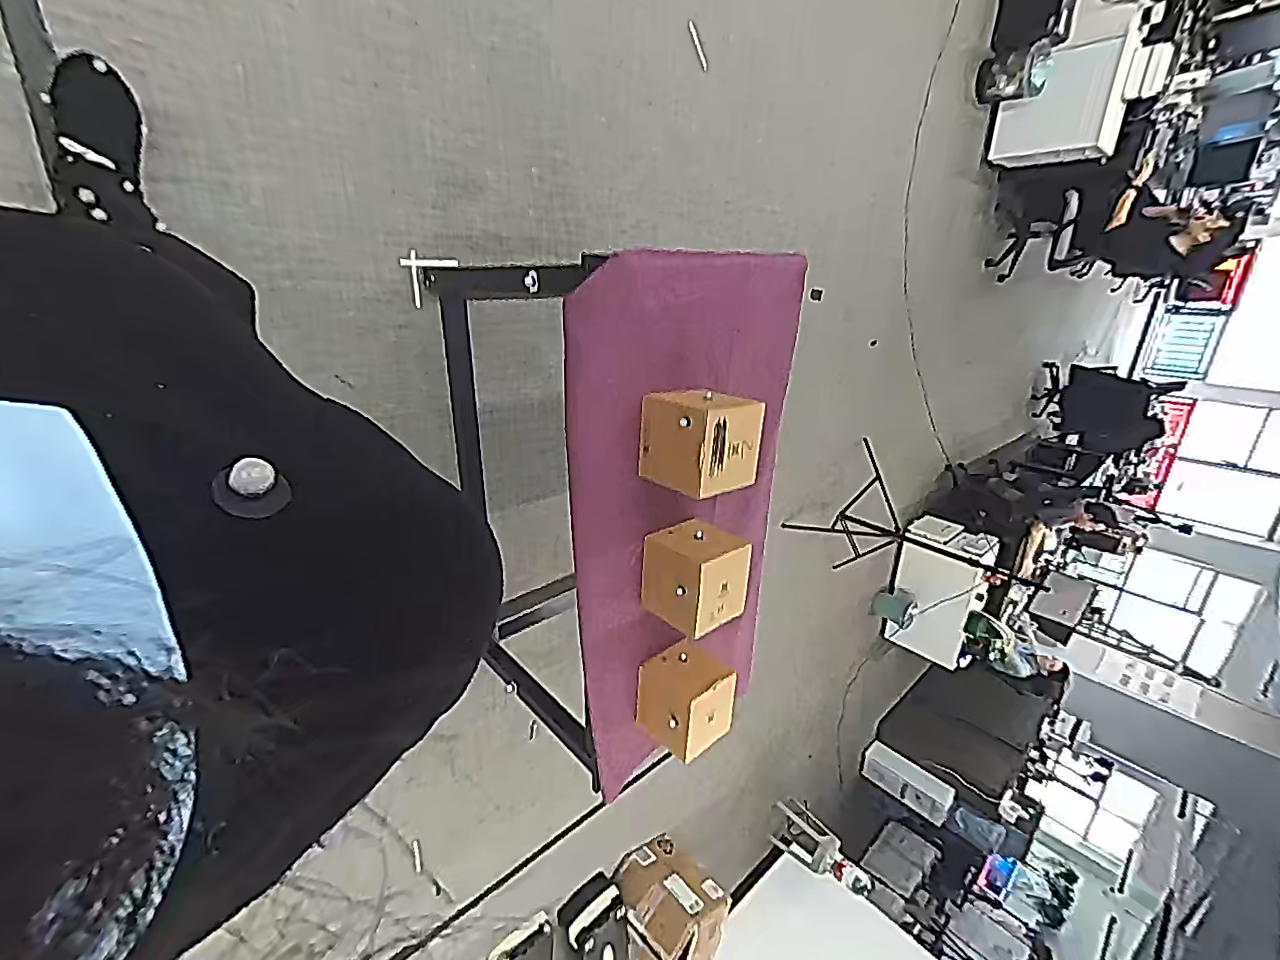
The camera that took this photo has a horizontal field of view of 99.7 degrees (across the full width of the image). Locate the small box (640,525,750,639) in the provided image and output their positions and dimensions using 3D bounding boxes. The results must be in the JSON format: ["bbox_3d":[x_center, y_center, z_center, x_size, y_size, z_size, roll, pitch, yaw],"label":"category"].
[{"bbox_3d":[0.116,0.210,1.187,0.168,0.176,0.179,-13,115,-40],"label":"small box"}]

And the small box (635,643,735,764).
[{"bbox_3d":[0.103,0.526,1.300,0.168,0.176,0.179,-14,114,-42],"label":"small box"}]
